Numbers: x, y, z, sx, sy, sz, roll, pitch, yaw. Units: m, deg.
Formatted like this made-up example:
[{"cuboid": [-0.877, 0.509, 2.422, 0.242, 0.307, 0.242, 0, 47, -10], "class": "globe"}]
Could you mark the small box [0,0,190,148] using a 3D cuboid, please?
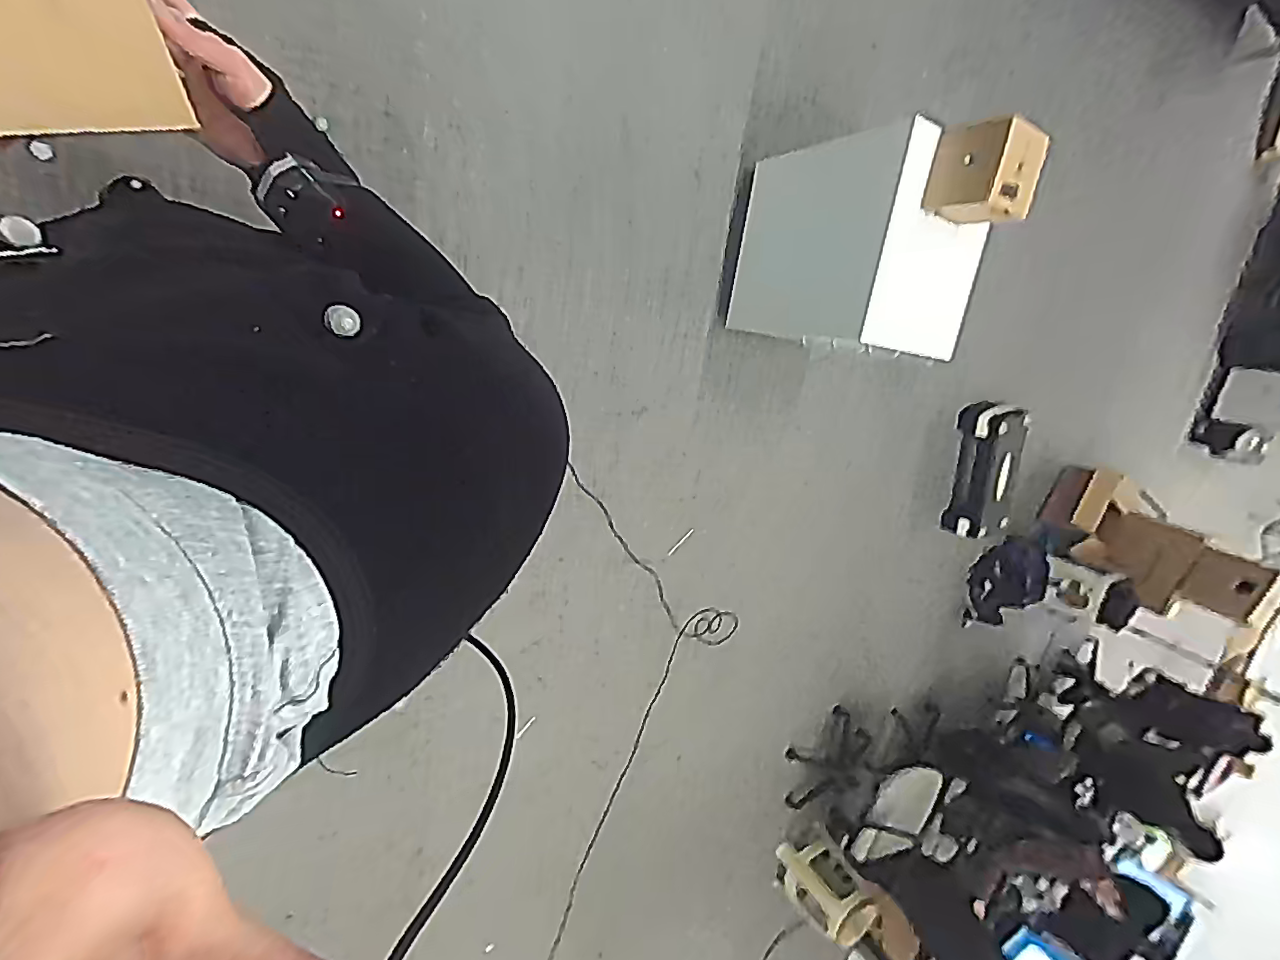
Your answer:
[{"cuboid": [-0.419, -0.303, 0.333, 0.179, 0.176, 0.168, -24, 131, -28], "class": "small box"}]

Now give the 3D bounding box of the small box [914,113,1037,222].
[{"cuboid": [0.782, -0.723, 1.278, 0.168, 0.176, 0.179, -1, 107, -31], "class": "small box"}]
